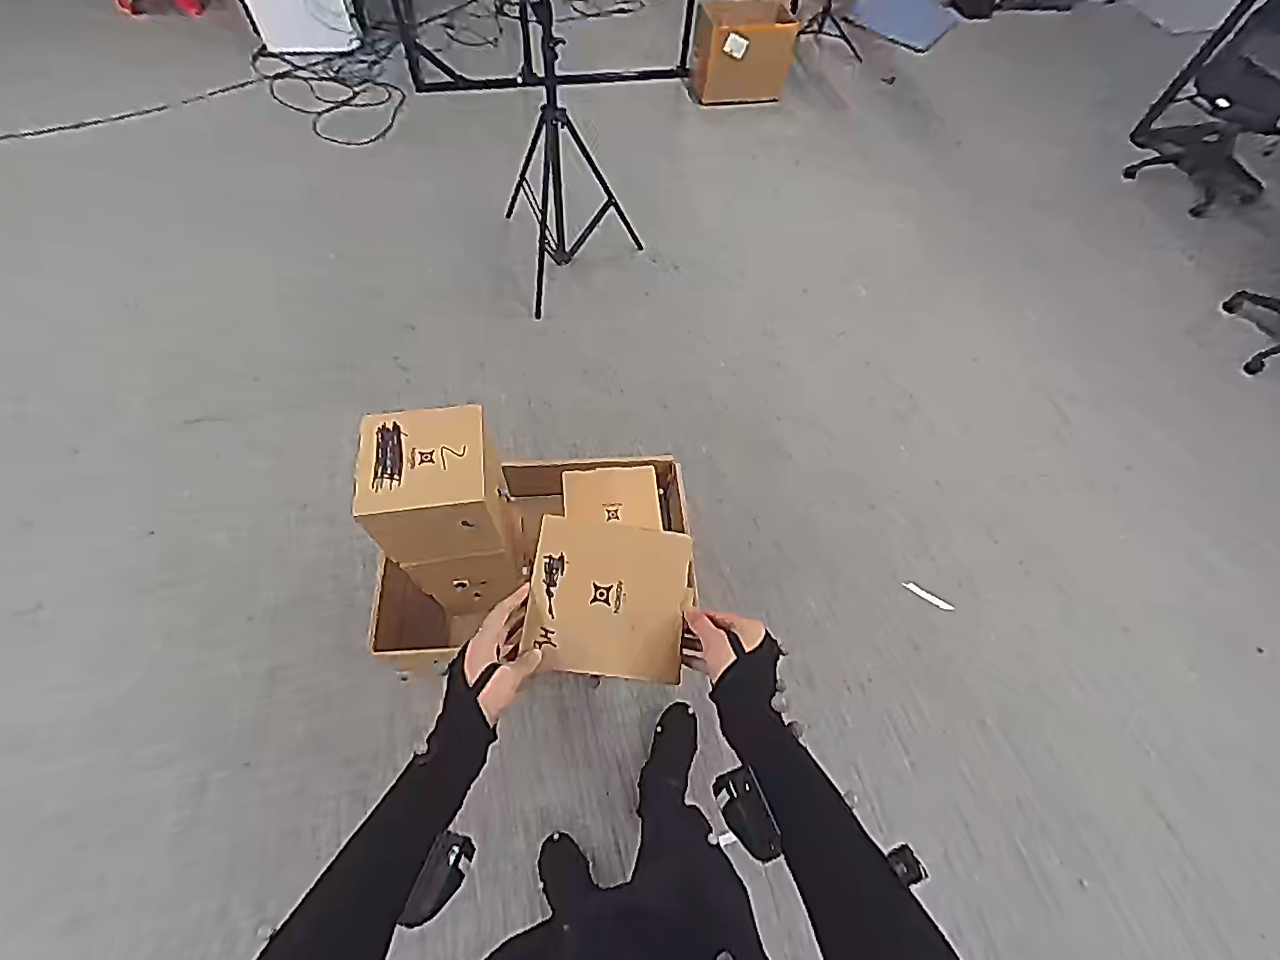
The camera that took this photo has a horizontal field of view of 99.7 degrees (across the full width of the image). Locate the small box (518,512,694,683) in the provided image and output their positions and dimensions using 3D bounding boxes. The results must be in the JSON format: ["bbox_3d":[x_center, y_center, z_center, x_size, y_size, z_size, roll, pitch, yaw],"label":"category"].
[{"bbox_3d":[-0.042,0.150,0.668,0.179,0.176,0.168,9,70,-4],"label":"small box"}]

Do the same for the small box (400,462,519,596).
[{"bbox_3d":[-0.316,0.091,0.971,0.168,0.176,0.179,-8,62,-7],"label":"small box"}]

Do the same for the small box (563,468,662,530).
[{"bbox_3d":[-0.051,0.097,0.990,0.168,0.176,0.179,-4,61,-7],"label":"small box"}]

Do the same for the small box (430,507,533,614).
[{"bbox_3d":[-0.318,0.170,1.115,0.179,0.176,0.168,-5,62,-8],"label":"small box"}]
